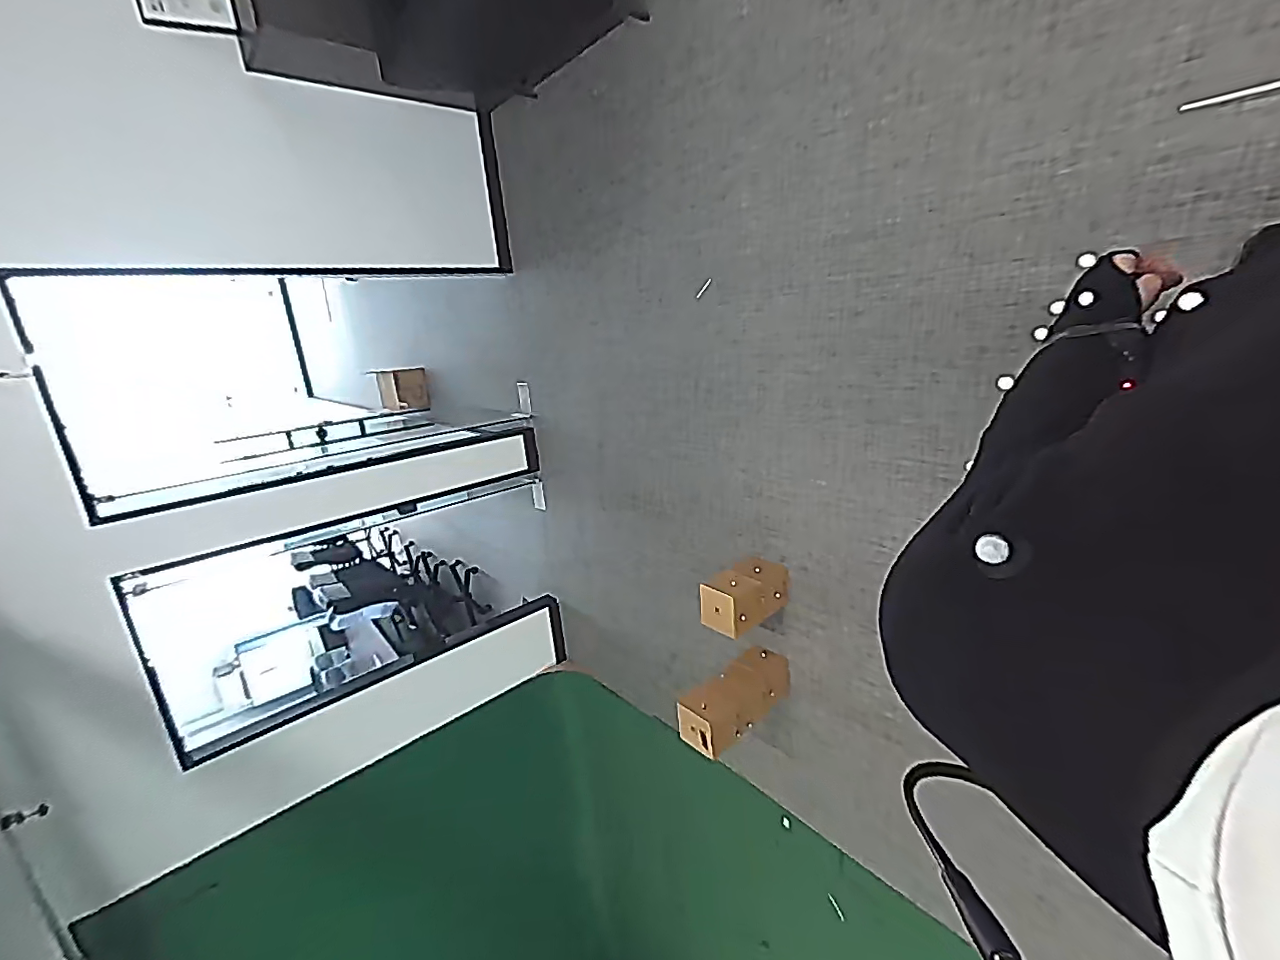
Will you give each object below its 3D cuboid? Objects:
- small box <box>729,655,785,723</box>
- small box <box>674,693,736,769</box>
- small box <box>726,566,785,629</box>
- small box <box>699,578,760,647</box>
[{"bbox_3d":[0.491,0.864,2.251,0.168,0.176,0.179,13,112,48],"label":"small box"},{"bbox_3d":[0.250,0.937,2.039,0.179,0.176,0.168,12,111,50],"label":"small box"},{"bbox_3d":[0.460,0.460,2.150,0.179,0.176,0.168,15,113,47],"label":"small box"},{"bbox_3d":[0.341,0.493,2.043,0.168,0.176,0.179,13,114,48],"label":"small box"}]
